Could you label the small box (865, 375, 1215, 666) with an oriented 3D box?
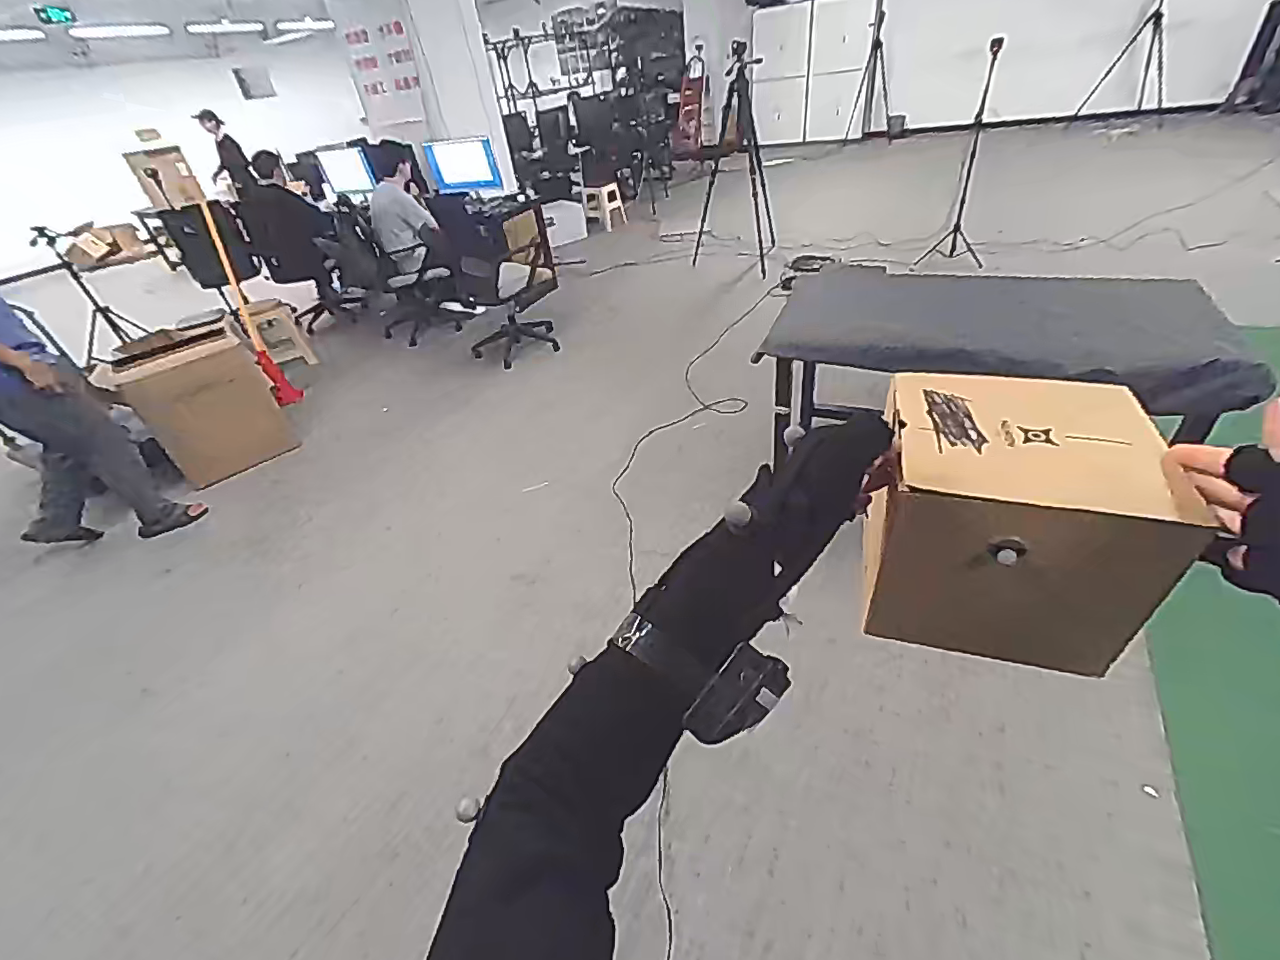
[{"bbox_3d":[0.292,0.029,0.451,0.179,0.176,0.168,8,42,17],"label":"small box"}]
